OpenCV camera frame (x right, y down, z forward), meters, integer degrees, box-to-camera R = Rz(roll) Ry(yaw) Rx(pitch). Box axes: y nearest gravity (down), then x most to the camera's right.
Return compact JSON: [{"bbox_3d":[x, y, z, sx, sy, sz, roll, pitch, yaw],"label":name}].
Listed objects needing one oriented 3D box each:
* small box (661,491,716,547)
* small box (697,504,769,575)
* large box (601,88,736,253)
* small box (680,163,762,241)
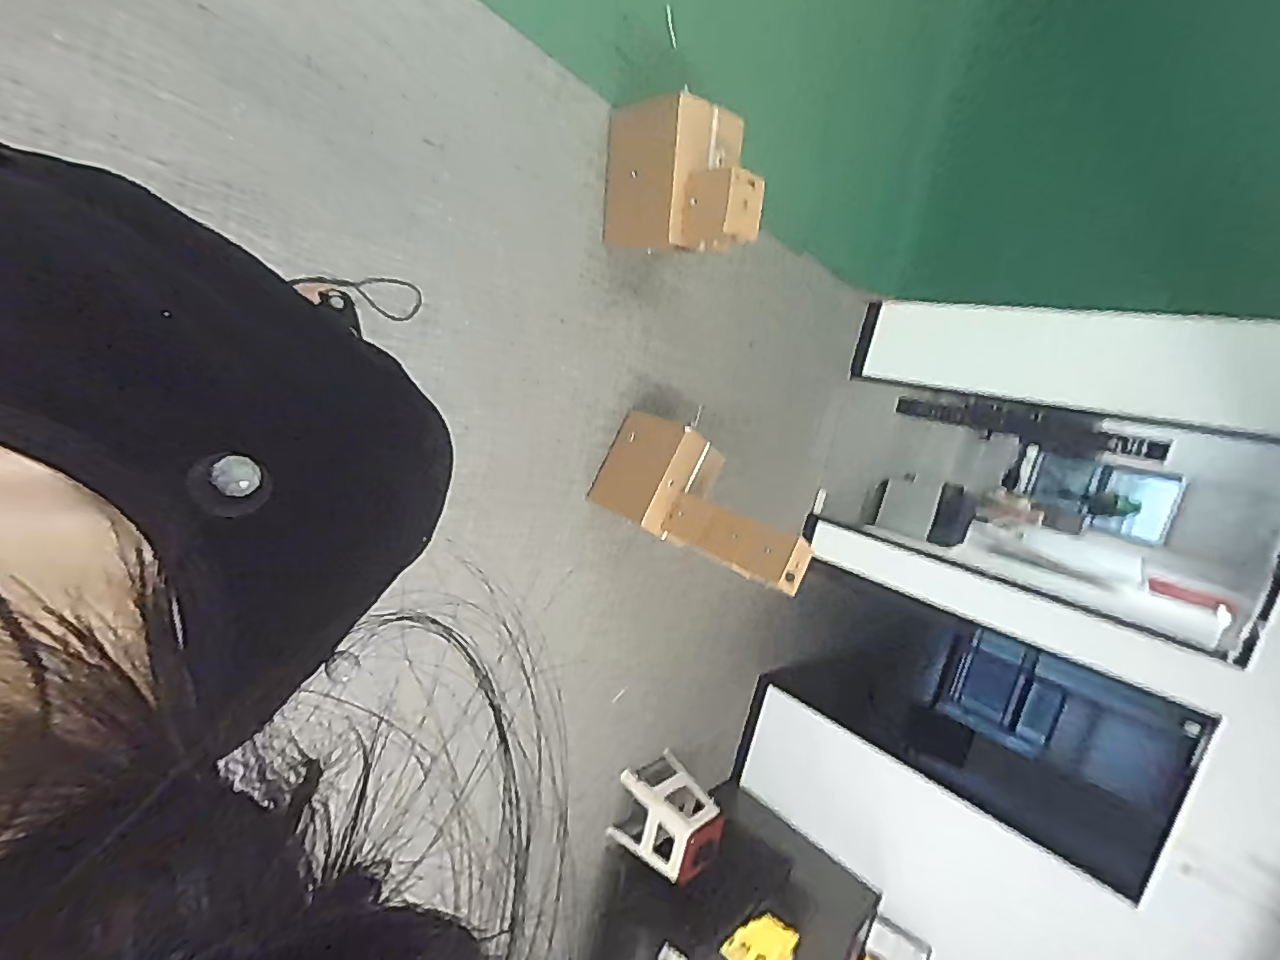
[{"bbox_3d":[0.212,0.156,2.018,0.179,0.176,0.168,33,81,-50],"label":"small box"},{"bbox_3d":[0.324,0.209,1.913,0.168,0.176,0.179,35,79,-50],"label":"small box"},{"bbox_3d":[0.087,-0.981,1.783,0.320,0.320,0.408,-15,115,-44],"label":"large box"},{"bbox_3d":[0.241,-0.831,1.635,0.168,0.176,0.179,-8,112,-45],"label":"small box"}]
